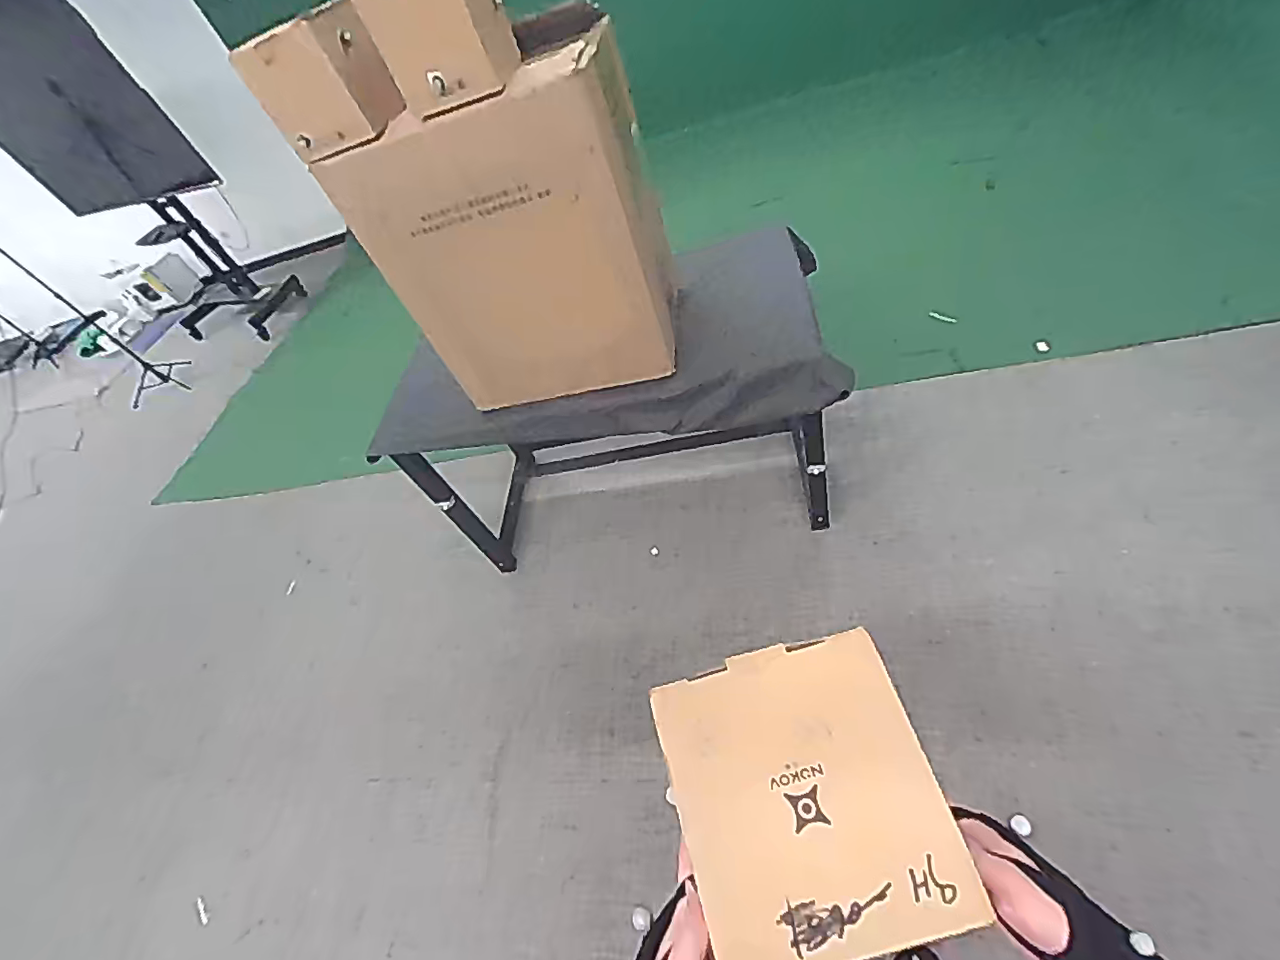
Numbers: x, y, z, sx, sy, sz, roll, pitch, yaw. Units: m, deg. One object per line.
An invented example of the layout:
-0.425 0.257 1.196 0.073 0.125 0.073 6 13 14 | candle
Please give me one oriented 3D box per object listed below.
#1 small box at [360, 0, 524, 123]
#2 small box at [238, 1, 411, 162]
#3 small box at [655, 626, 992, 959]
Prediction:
-0.310 -0.727 0.891 0.168 0.176 0.179 -9 50 16 | small box
-0.539 -0.691 0.954 0.168 0.176 0.179 -7 49 17 | small box
0.119 0.236 0.423 0.168 0.176 0.179 -17 63 2 | small box
